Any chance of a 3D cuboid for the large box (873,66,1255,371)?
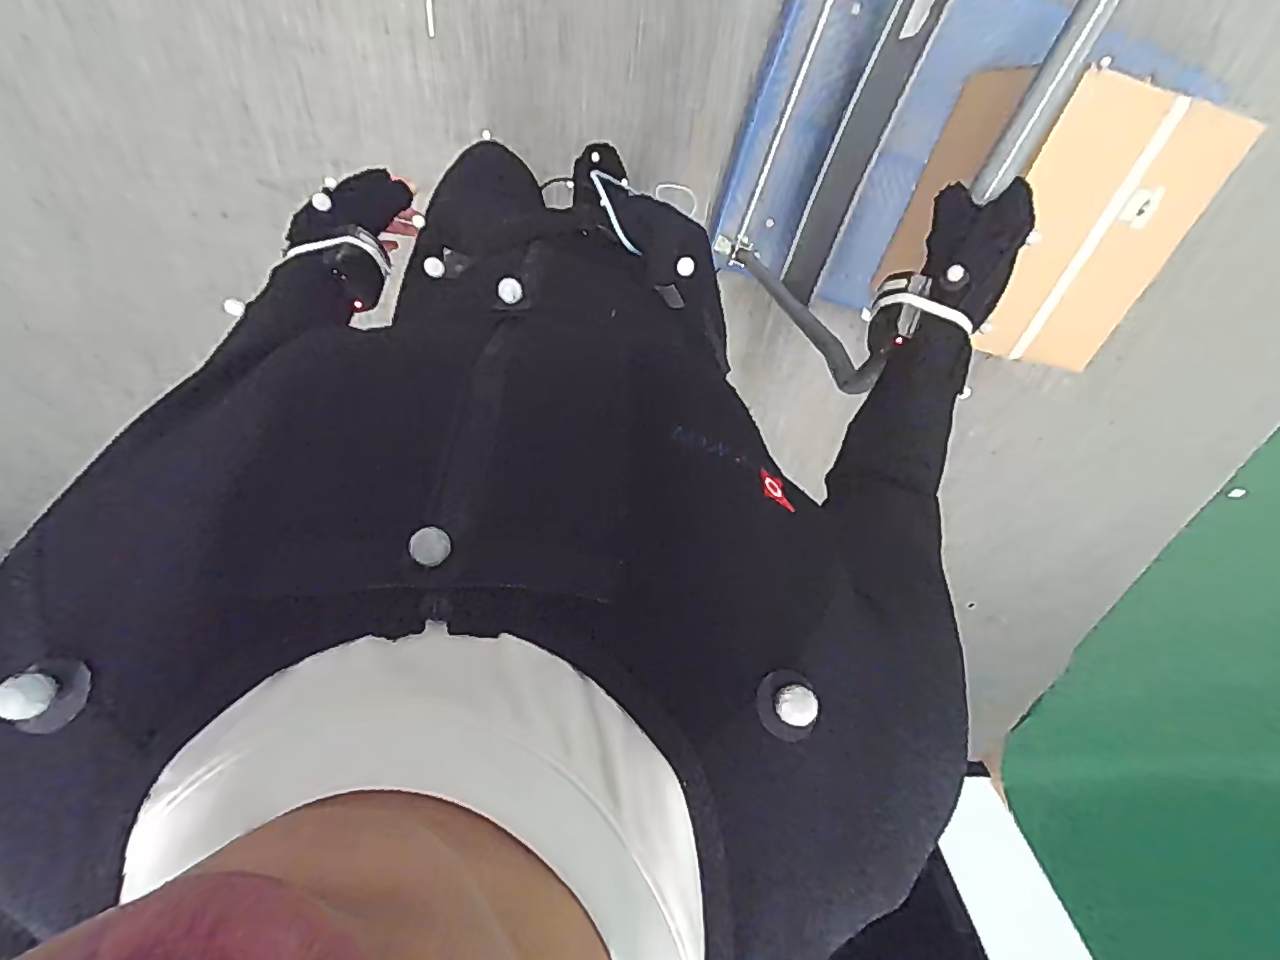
[{"bbox_3d":[0.706,-0.468,0.996,0.320,0.320,0.408,9,124,-11],"label":"large box"}]
